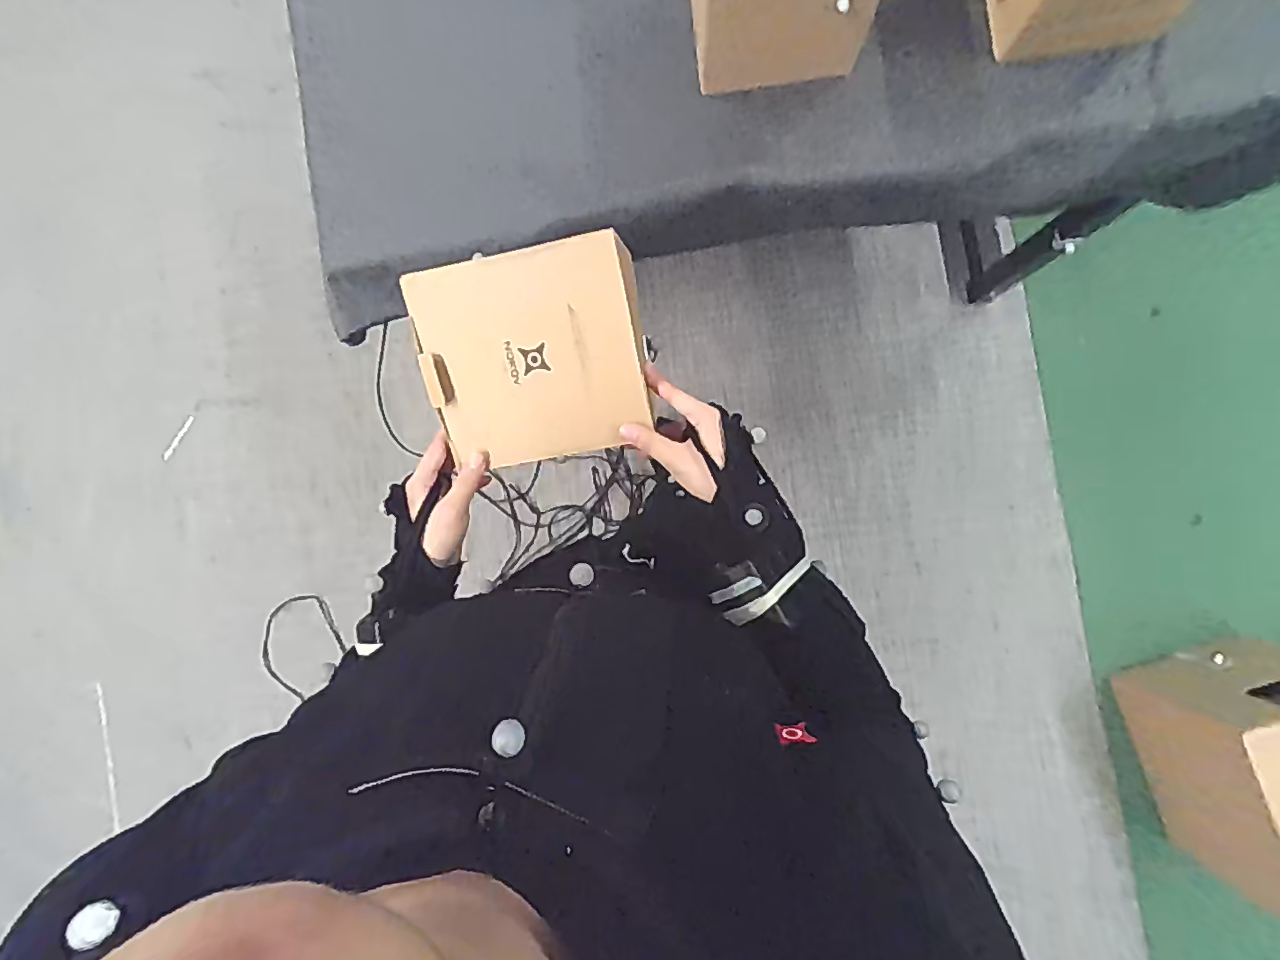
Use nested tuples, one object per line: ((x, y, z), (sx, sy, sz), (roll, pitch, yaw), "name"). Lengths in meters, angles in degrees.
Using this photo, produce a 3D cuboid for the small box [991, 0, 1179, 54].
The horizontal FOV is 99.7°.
((0.467, -0.562, 0.525), (0.179, 0.176, 0.168), (-7, 87, 4), "small box")
